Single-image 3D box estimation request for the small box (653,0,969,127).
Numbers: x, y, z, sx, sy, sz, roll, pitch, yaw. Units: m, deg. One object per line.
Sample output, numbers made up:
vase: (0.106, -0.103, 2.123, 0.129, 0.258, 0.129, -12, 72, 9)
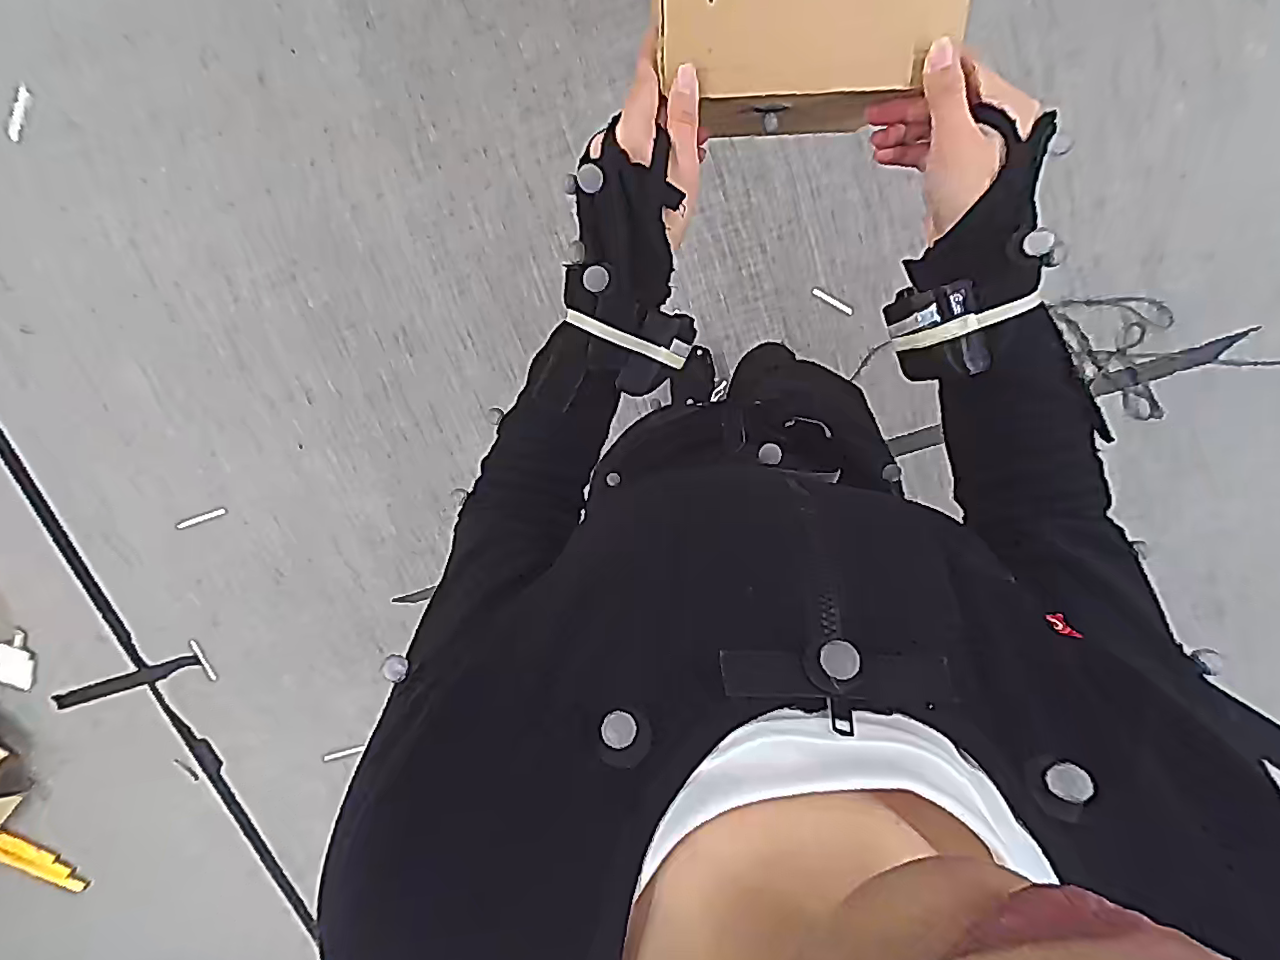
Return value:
small box: (0.096, -0.344, 0.356, 0.179, 0.176, 0.168, -2, 115, 0)
